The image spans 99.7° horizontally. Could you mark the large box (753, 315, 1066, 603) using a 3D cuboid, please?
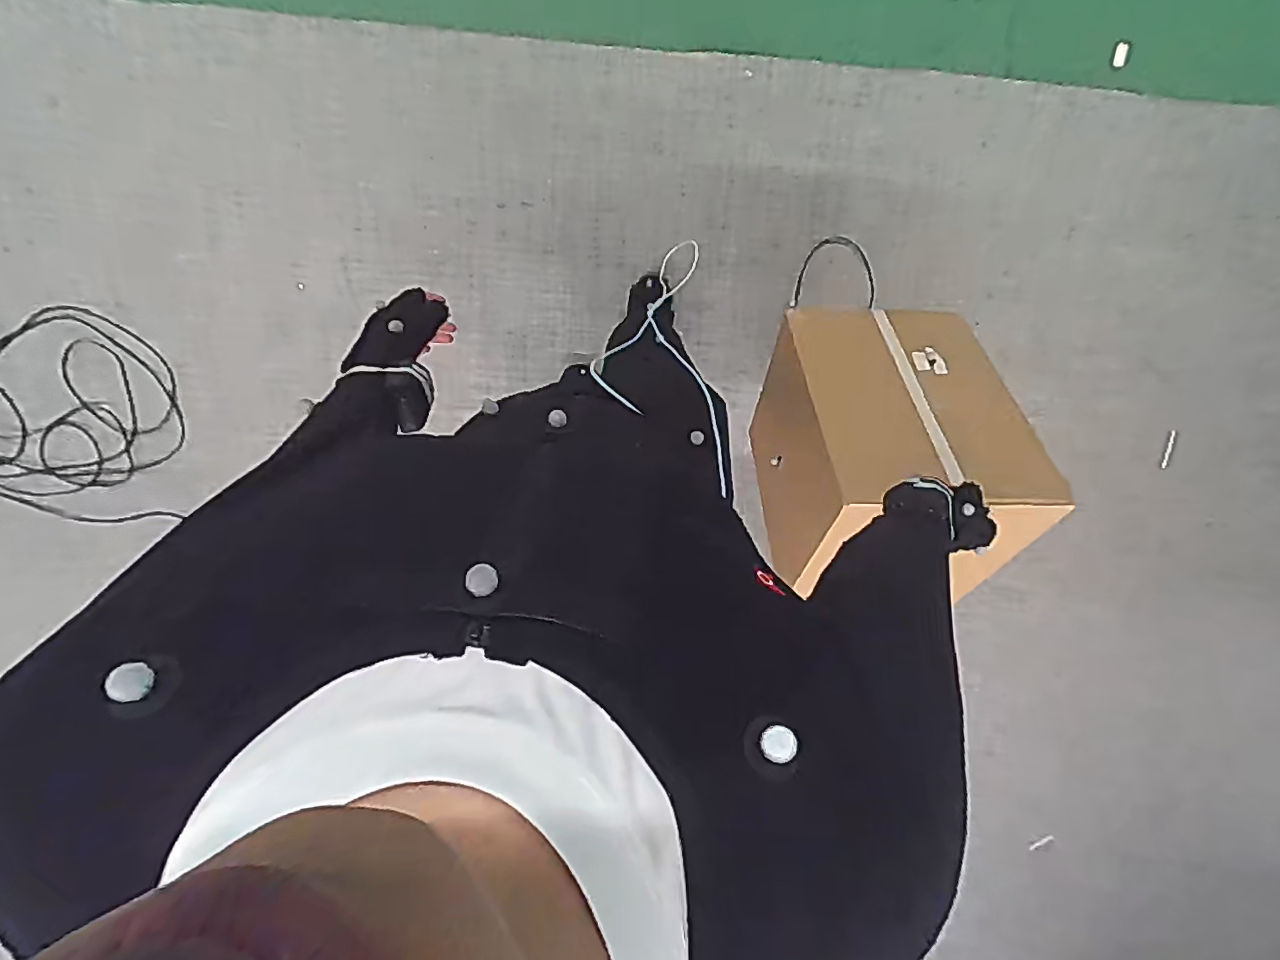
[{"bbox_3d":[0.404,-0.033,0.944,0.320,0.408,0.320,1,143,-3],"label":"large box"}]
